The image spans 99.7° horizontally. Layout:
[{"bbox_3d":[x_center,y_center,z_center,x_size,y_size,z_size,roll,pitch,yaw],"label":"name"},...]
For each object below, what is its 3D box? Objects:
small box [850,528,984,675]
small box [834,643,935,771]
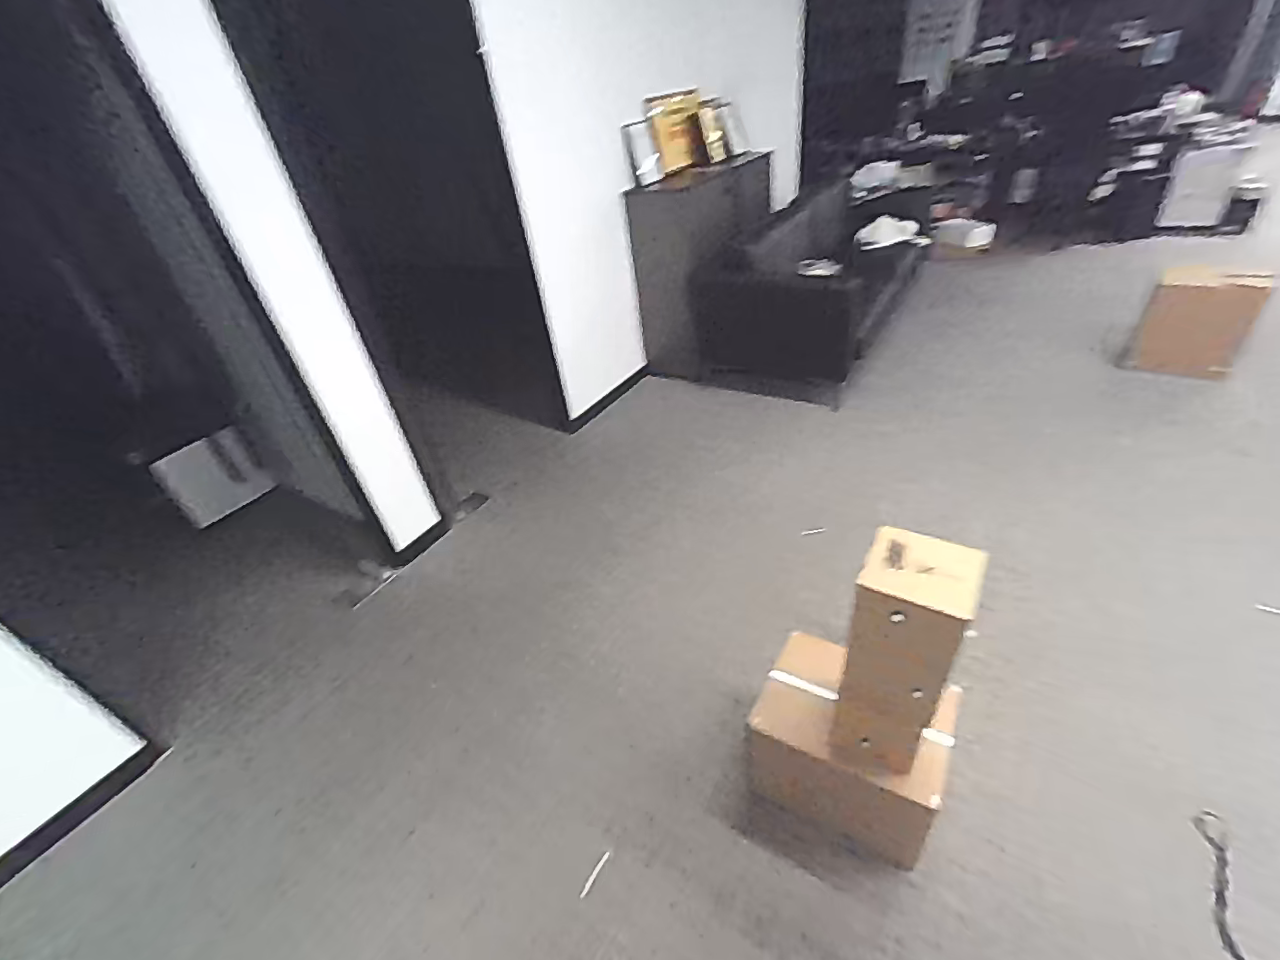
[{"bbox_3d":[0.495,0.220,0.982,0.179,0.176,0.168,17,44,30],"label":"small box"},{"bbox_3d":[0.527,0.485,1.175,0.168,0.176,0.179,13,42,28],"label":"small box"}]
